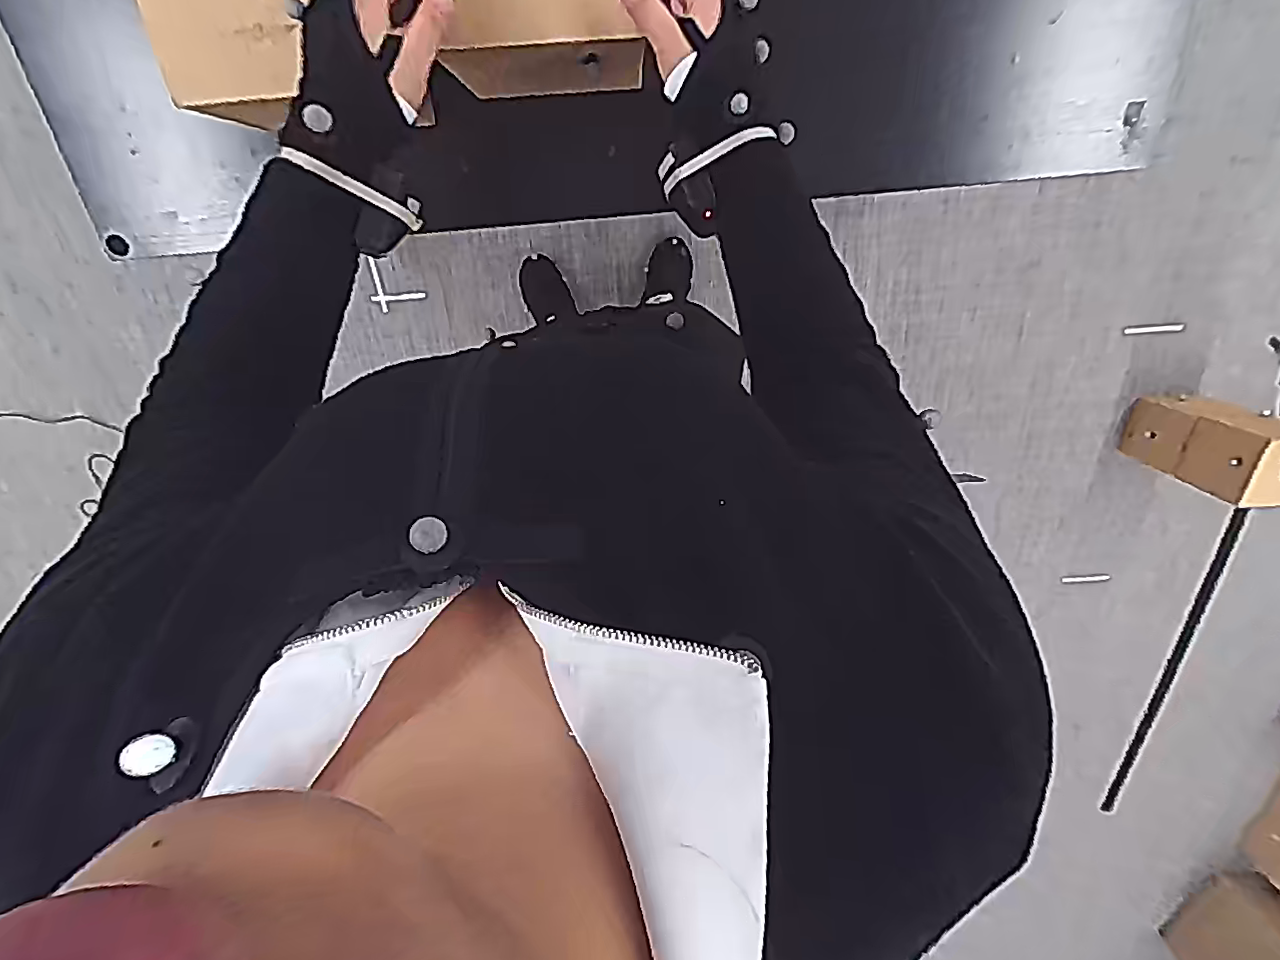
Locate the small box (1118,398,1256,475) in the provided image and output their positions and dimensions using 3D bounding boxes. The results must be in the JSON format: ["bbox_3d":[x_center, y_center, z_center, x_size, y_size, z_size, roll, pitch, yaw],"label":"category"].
[{"bbox_3d":[1.459,-0.120,1.459,0.179,0.176,0.168,-2,115,0],"label":"small box"}]

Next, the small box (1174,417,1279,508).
[{"bbox_3d":[1.469,-0.049,1.310,0.168,0.176,0.179,-2,116,-1],"label":"small box"}]

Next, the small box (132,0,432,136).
[{"bbox_3d":[-0.304,-0.420,0.471,0.168,0.176,0.179,-4,116,2],"label":"small box"}]
